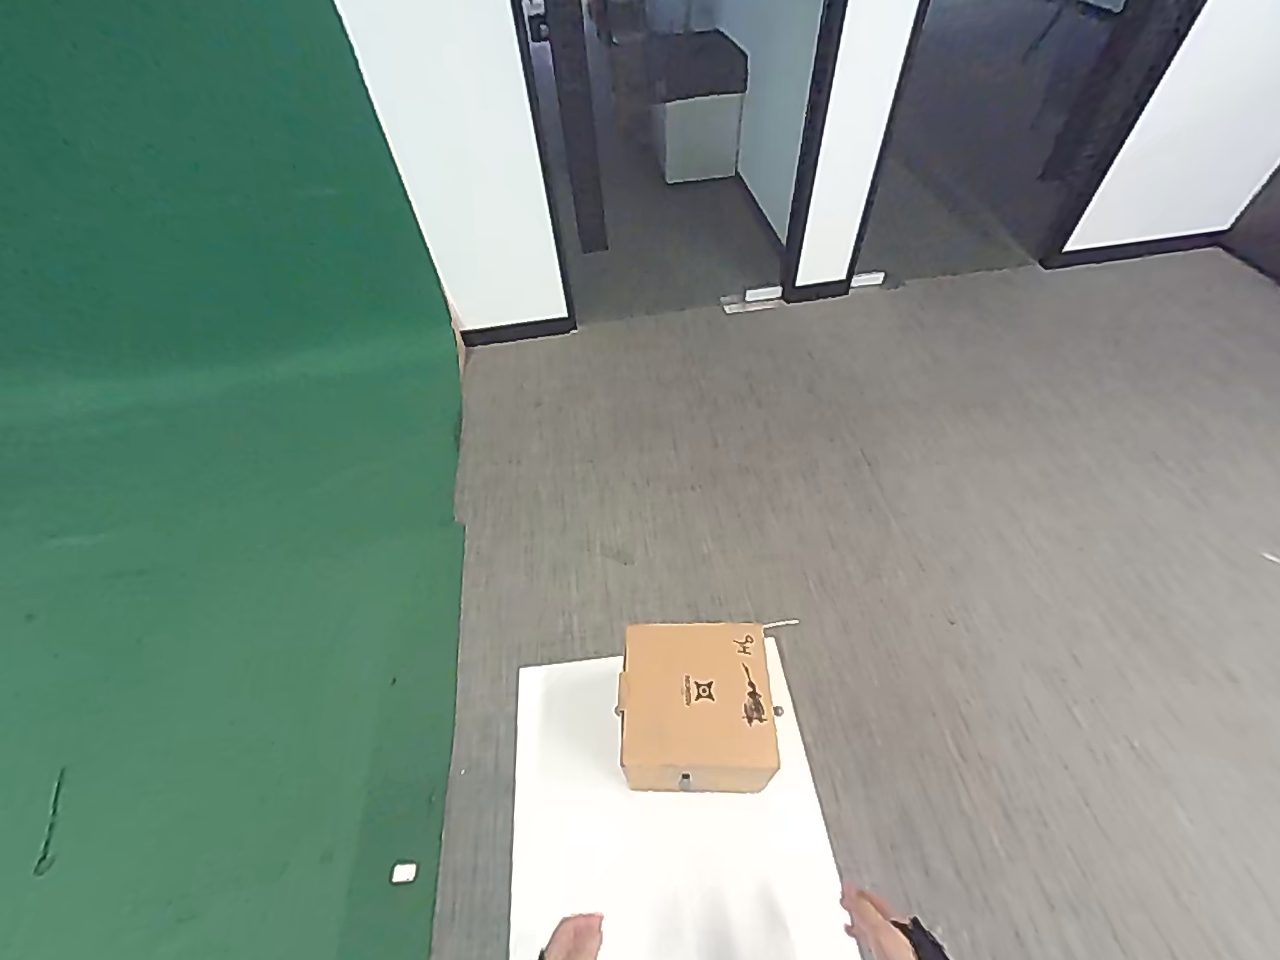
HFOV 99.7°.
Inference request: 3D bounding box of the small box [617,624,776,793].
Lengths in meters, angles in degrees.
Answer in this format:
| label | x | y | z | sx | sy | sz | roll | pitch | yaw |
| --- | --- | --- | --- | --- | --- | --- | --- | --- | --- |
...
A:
| label | x | y | z | sx | sy | sz | roll | pitch | yaw |
| --- | --- | --- | --- | --- | --- | --- | --- | --- | --- |
| small box | 0.070 | 0.297 | 0.696 | 0.179 | 0.176 | 0.168 | -2 | 51 | 4 |
